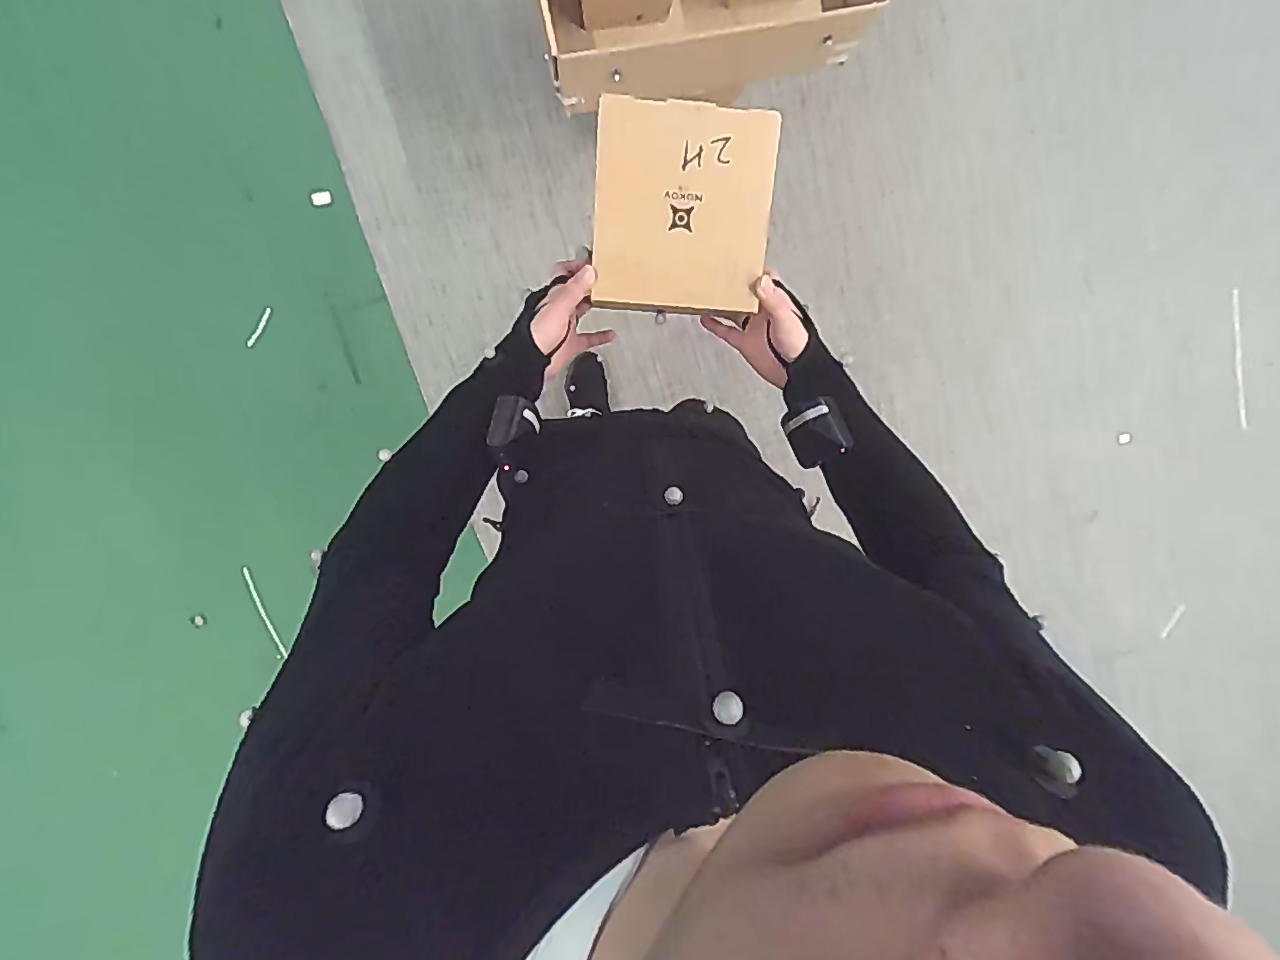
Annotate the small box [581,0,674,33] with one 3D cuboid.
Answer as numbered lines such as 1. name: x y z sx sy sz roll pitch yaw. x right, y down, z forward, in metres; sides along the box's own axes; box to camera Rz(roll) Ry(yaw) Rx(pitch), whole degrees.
1. small box: -0.029 -0.930 0.936 0.168 0.176 0.179 -10 101 -3

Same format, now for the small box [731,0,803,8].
1. small box: 0.244 -0.985 0.957 0.168 0.176 0.179 -12 102 -4

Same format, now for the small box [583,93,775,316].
1. small box: 0.031 -0.273 0.579 0.168 0.176 0.179 3 105 -4
